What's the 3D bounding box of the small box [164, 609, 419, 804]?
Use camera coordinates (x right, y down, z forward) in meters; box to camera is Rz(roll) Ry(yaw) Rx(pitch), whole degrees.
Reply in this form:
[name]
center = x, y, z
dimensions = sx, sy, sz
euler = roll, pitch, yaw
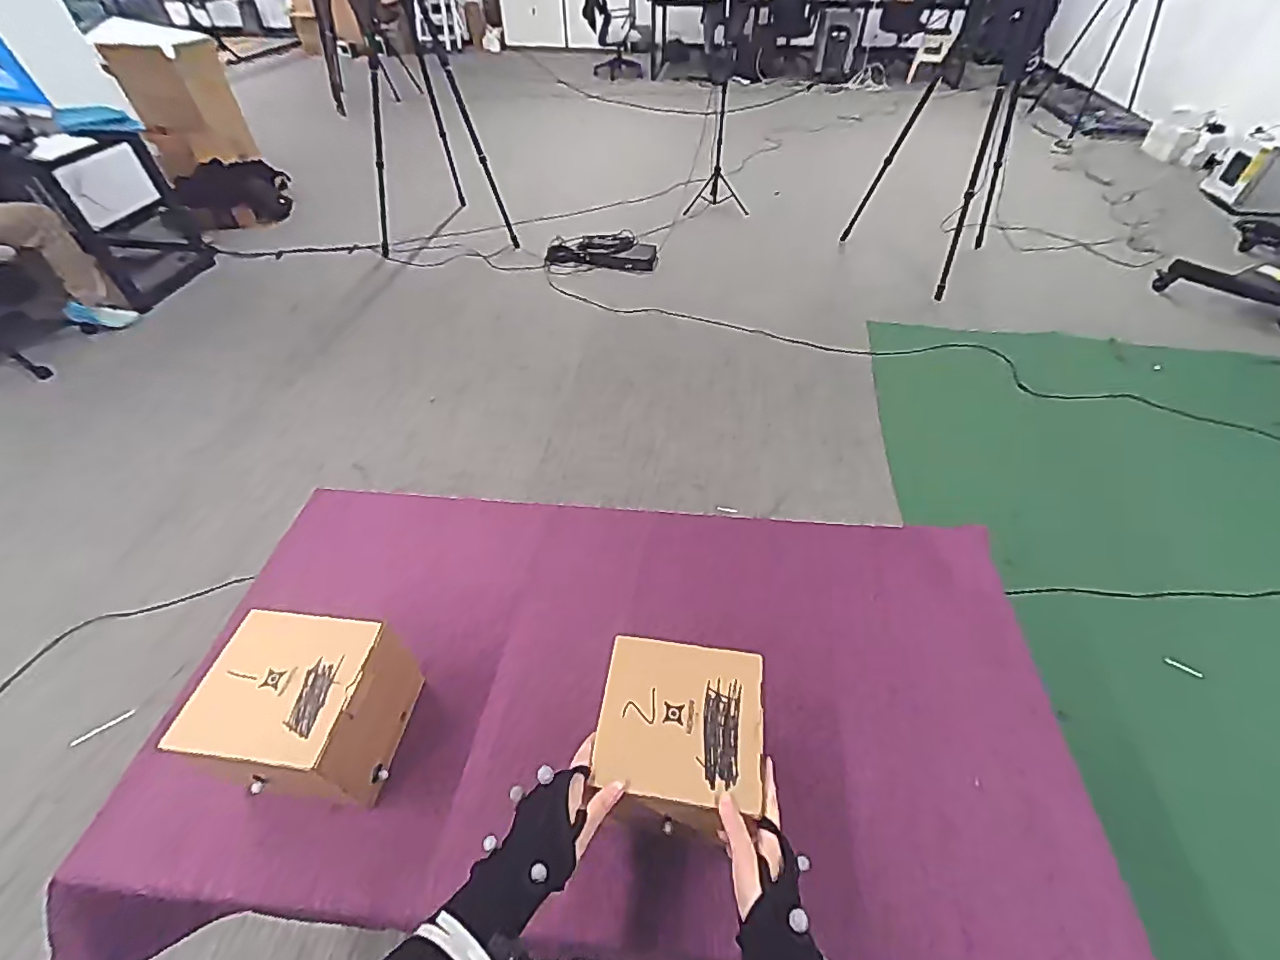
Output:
[small box]
center = -0.402, 0.282, 0.667
dimensions = 0.179, 0.176, 0.168
euler = 5, 47, 5
